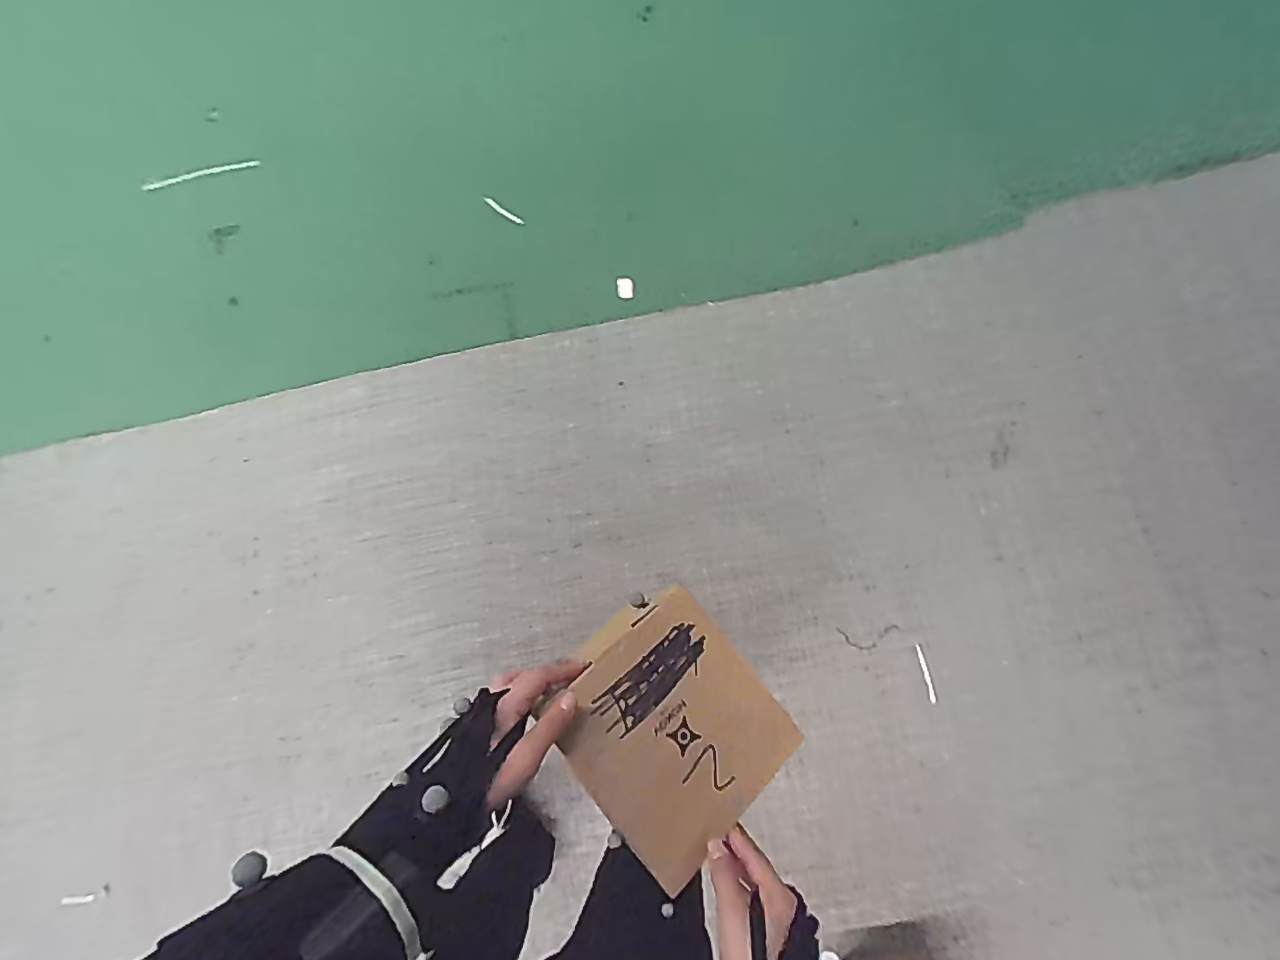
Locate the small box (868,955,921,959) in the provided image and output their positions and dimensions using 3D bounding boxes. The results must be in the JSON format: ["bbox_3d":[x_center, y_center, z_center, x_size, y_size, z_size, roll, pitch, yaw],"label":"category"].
[{"bbox_3d":[0.438,0.934,0.880,0.168,0.176,0.179,-9,79,3],"label":"small box"}]
